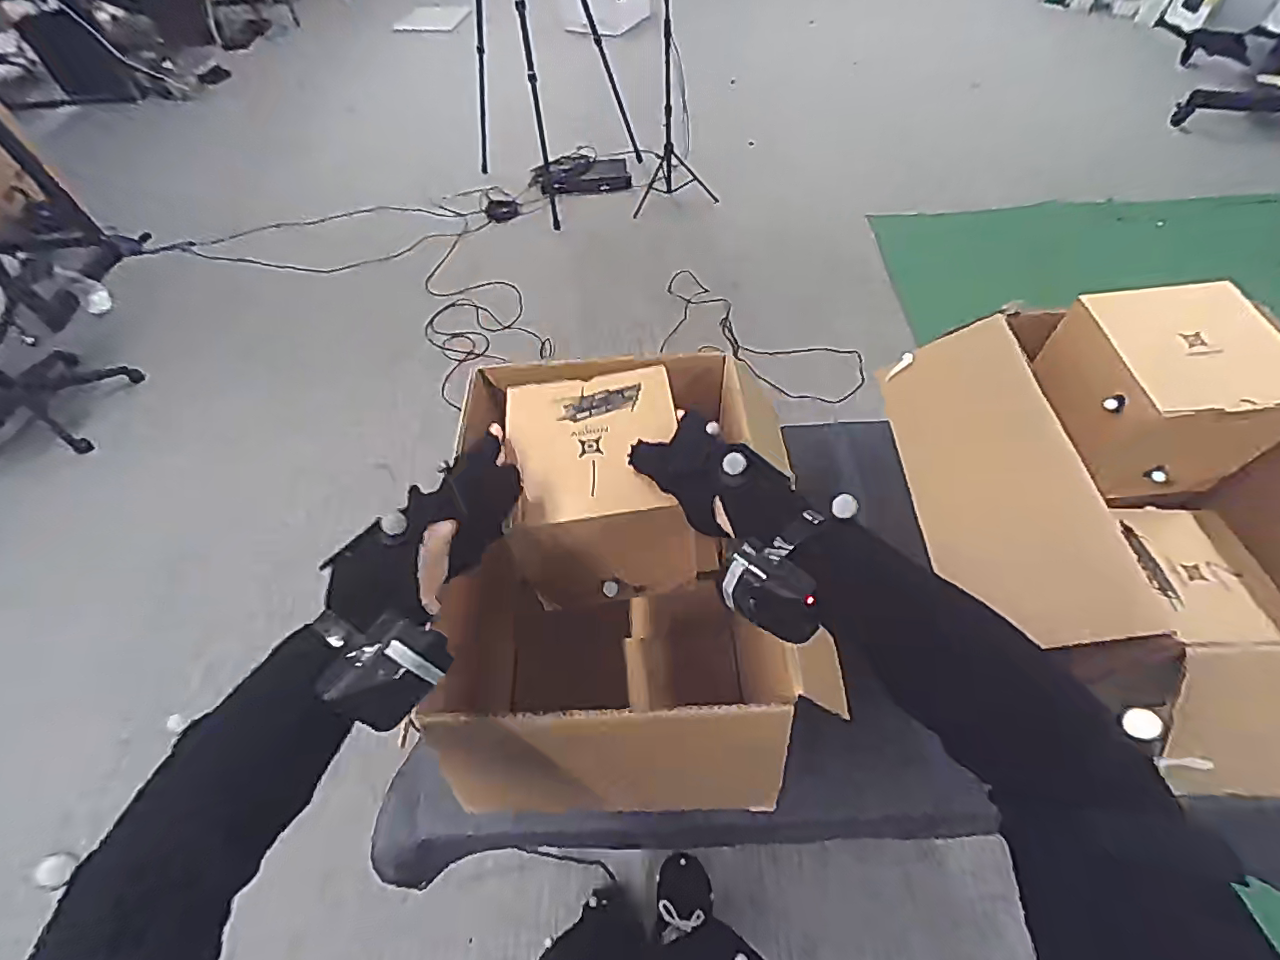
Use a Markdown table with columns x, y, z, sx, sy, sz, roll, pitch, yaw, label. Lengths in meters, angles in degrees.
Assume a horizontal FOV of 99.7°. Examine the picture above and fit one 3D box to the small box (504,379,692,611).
| x | y | z | sx | sy | sz | roll | pitch | yaw | label |
| --- | --- | --- | --- | --- | --- | --- | --- | --- | --- |
| -0.038 | 0.019 | 0.579 | 0.168 | 0.176 | 0.179 | -7 | 52 | 1 | small box |
